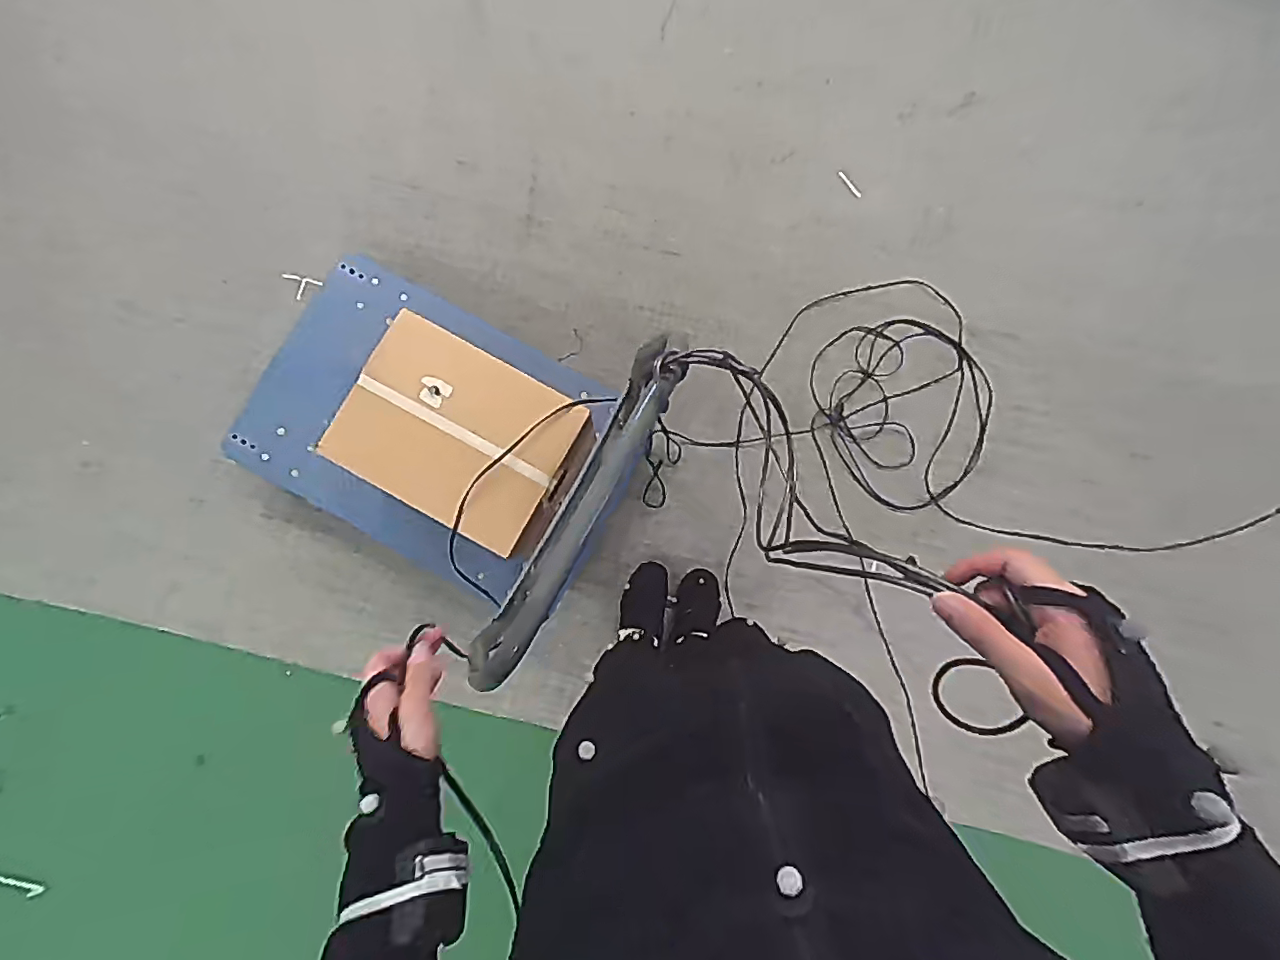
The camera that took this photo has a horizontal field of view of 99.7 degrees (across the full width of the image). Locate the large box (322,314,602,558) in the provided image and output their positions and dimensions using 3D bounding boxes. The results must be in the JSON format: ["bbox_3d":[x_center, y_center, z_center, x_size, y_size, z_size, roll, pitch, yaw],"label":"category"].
[{"bbox_3d":[-0.328,-0.069,1.123,0.408,0.320,0.320,29,84,2],"label":"large box"}]
